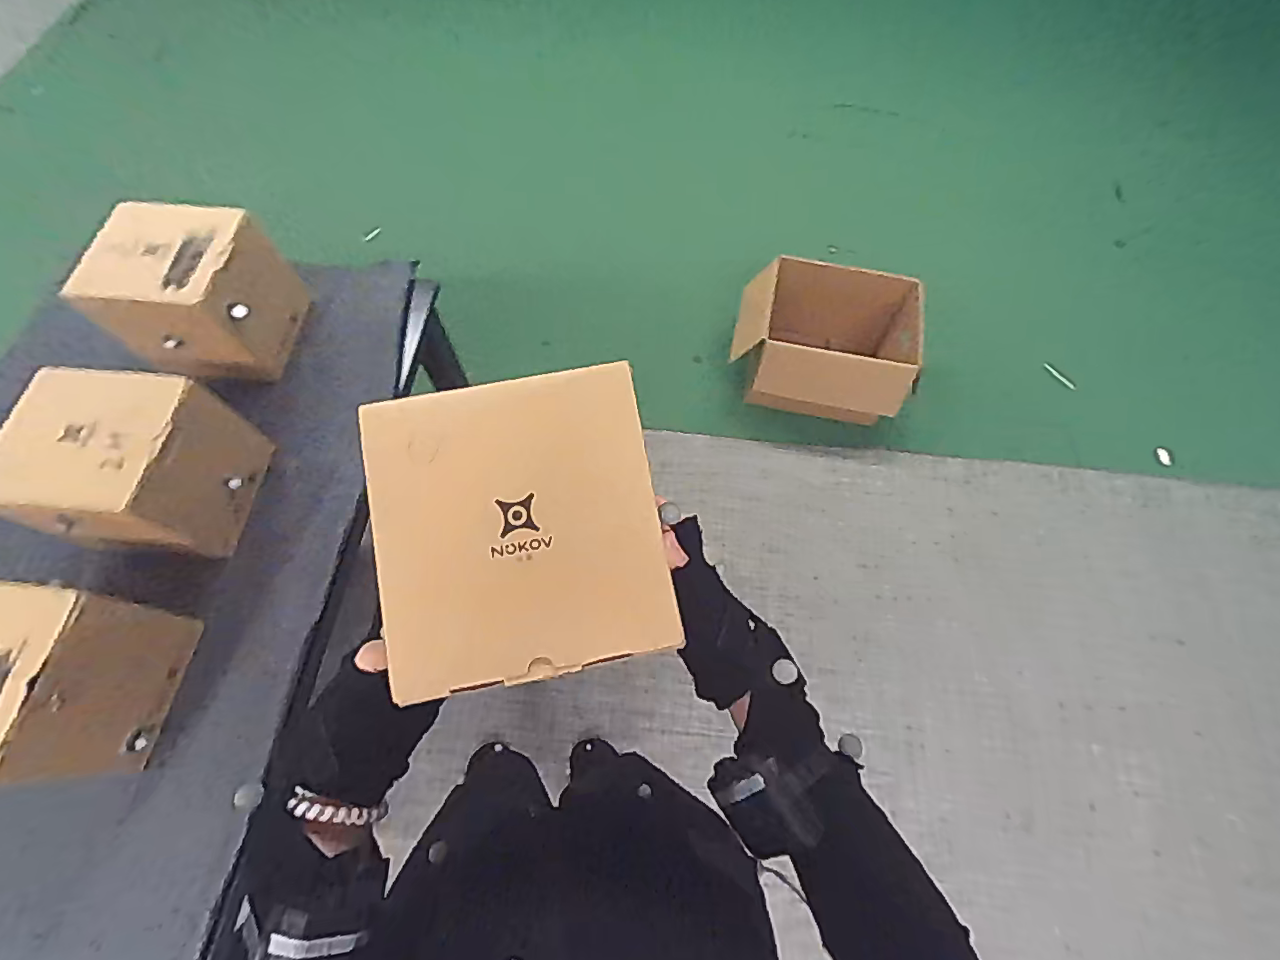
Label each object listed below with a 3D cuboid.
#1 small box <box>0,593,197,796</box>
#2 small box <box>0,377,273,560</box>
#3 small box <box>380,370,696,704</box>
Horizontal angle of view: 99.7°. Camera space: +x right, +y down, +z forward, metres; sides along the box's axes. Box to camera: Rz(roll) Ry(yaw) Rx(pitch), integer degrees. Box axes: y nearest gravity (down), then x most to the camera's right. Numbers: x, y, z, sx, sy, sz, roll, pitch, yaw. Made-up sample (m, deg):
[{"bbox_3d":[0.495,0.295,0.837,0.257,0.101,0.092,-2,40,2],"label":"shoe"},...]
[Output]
[{"bbox_3d":[-0.619,0.215,0.553,0.179,0.176,0.168,5,64,1],"label":"small box"},{"bbox_3d":[-0.601,-0.006,0.656,0.179,0.176,0.168,4,66,0],"label":"small box"},{"bbox_3d":[-0.066,0.040,0.396,0.168,0.176,0.179,-10,82,-4],"label":"small box"}]
